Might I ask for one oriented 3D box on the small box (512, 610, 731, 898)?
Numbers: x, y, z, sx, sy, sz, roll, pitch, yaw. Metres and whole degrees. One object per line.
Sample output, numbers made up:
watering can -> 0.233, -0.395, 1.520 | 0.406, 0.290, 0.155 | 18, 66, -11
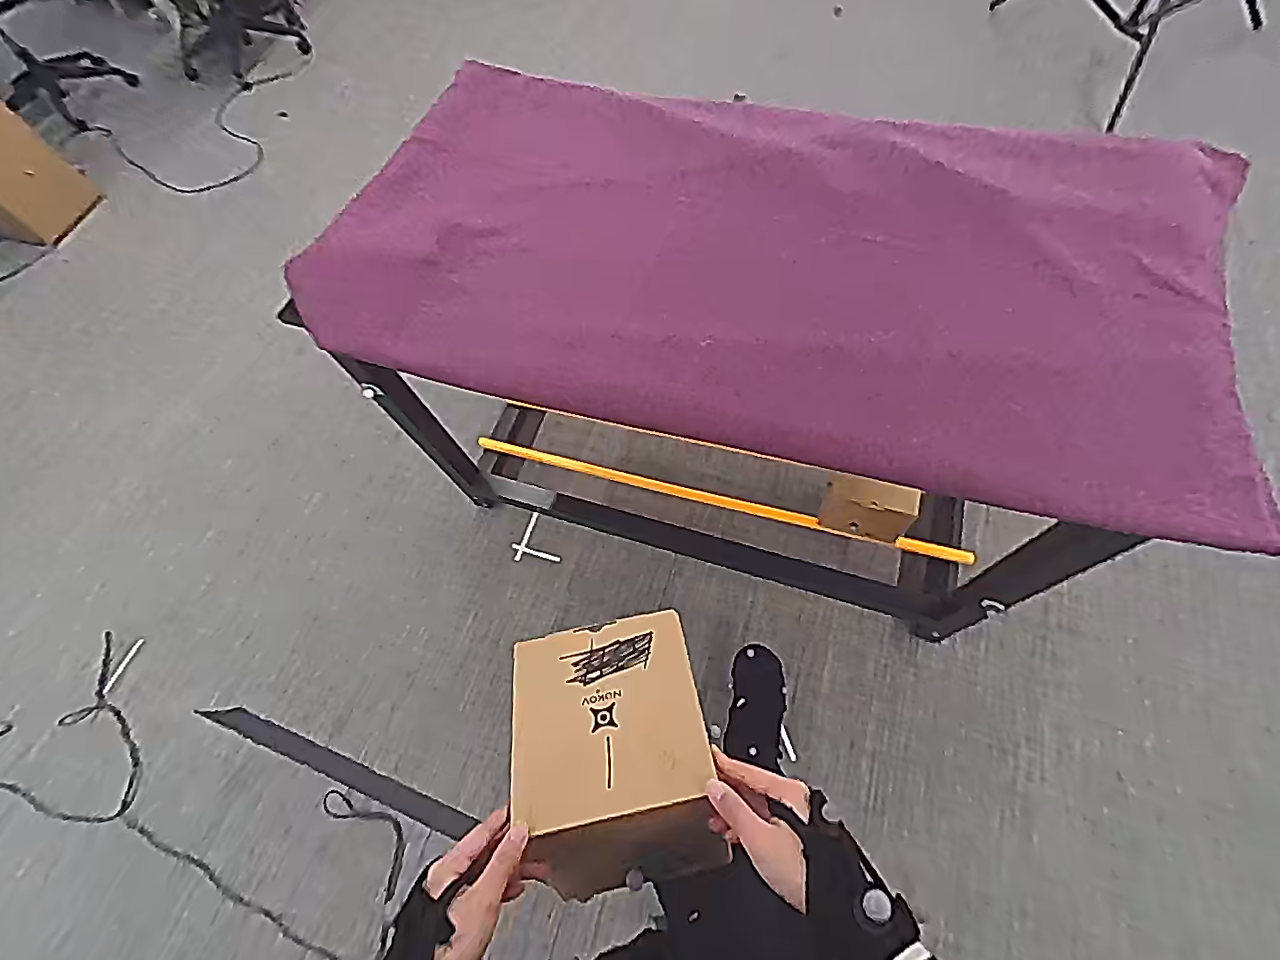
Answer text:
small box -> -0.014, 0.258, 0.517 | 0.168, 0.176, 0.179 | -12, 39, -1

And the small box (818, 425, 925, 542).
small box -> 0.489, 0.011, 1.160 | 0.168, 0.176, 0.179 | 13, 68, 14
